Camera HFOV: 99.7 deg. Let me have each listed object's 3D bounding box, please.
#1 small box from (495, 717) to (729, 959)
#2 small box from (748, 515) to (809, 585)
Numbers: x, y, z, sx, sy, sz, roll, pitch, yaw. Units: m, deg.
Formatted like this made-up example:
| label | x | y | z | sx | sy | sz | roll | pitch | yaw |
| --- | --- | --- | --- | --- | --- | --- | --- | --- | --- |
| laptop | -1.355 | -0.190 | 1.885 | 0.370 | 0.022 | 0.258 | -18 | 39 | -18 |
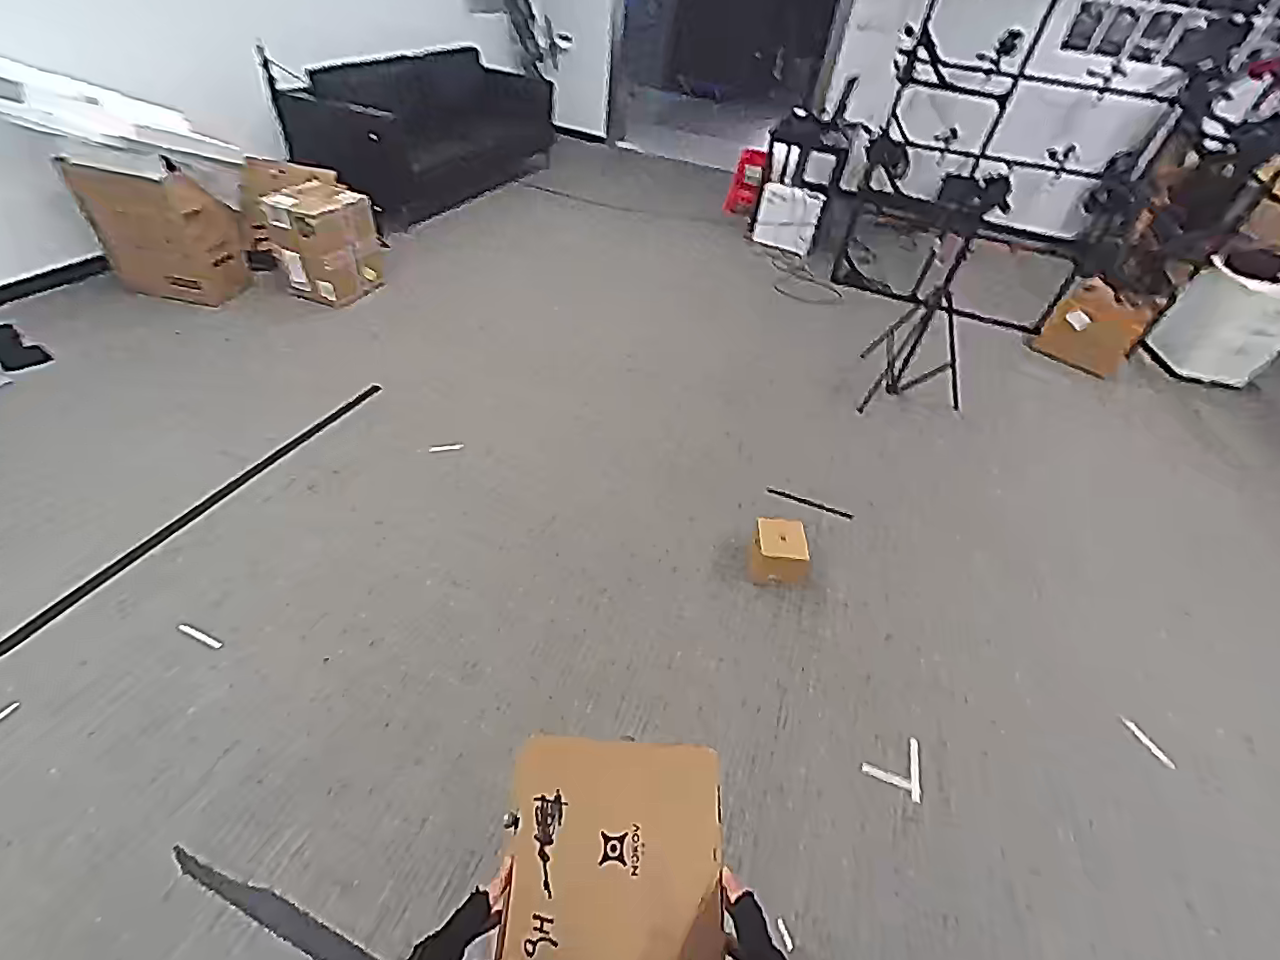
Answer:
| label | x | y | z | sx | sy | sz | roll | pitch | yaw |
| --- | --- | --- | --- | --- | --- | --- | --- | --- | --- |
| small box | -0.031 | 0.332 | 0.509 | 0.179 | 0.176 | 0.168 | 11 | 55 | -11 |
| small box | 0.486 | 0.249 | 1.929 | 0.168 | 0.176 | 0.179 | 5 | 44 | -1 |
